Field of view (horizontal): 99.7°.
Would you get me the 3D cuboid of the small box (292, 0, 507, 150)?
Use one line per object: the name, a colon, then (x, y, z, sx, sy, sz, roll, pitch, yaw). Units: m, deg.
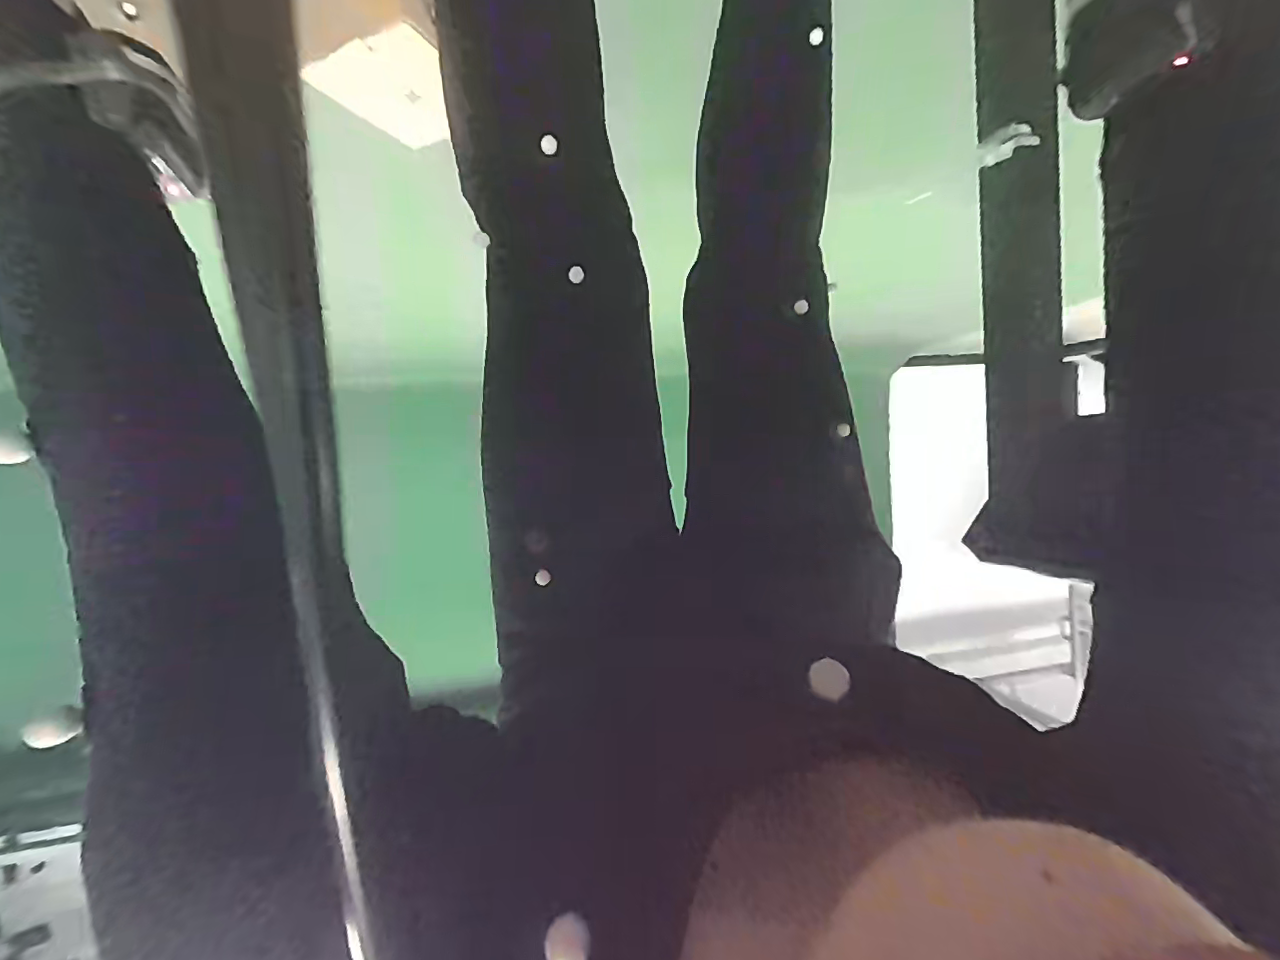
small box: (-0.280, -0.539, 0.644, 0.168, 0.176, 0.179, -2, -177, 23)
